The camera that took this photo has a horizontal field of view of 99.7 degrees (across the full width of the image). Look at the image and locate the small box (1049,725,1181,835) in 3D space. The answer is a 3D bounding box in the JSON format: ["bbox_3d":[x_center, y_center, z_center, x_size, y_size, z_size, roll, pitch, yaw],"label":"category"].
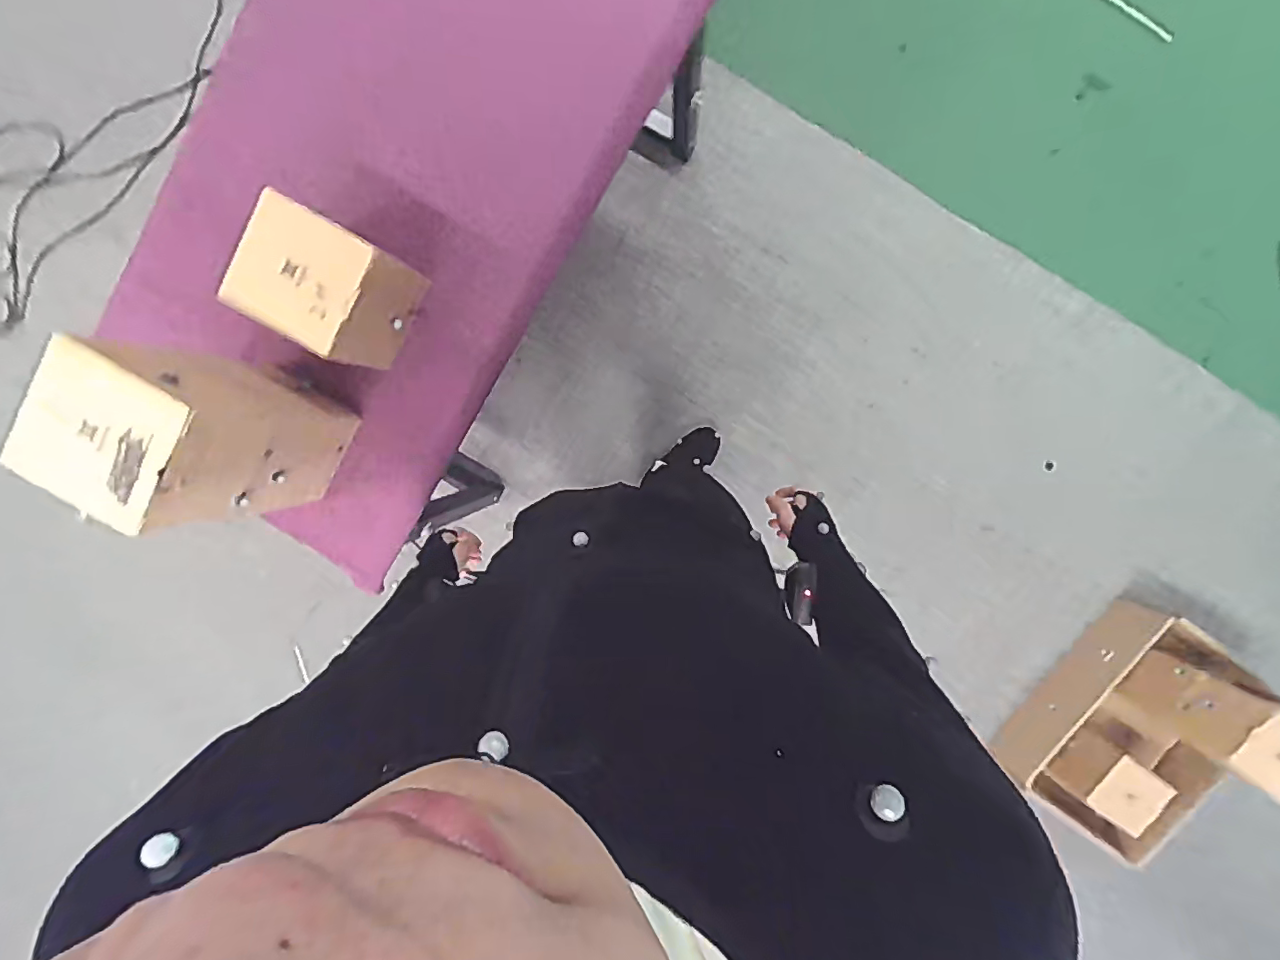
[{"bbox_3d":[1.304,0.820,1.498,0.179,0.176,0.168,36,95,-1],"label":"small box"}]

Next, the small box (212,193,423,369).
[{"bbox_3d":[-0.462,-0.278,0.802,0.179,0.176,0.168,29,97,0],"label":"small box"}]

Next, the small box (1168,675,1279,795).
[{"bbox_3d":[1.467,0.608,1.307,0.179,0.176,0.168,36,97,-2],"label":"small box"}]

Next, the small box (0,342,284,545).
[{"bbox_3d":[-0.592,-0.046,0.664,0.179,0.176,0.168,29,95,0],"label":"small box"}]
